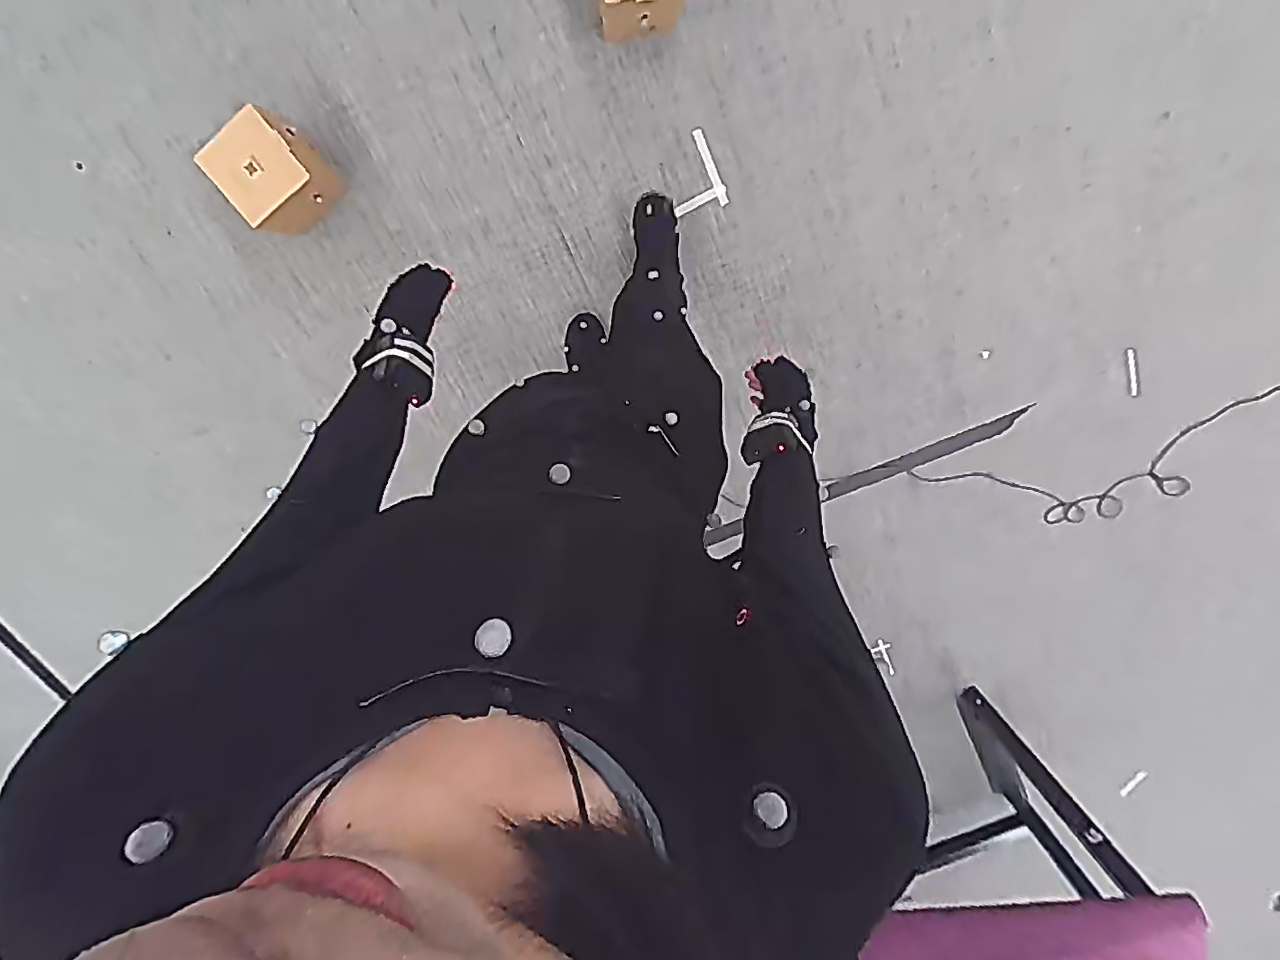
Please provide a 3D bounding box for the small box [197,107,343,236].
[{"bbox_3d":[-0.792,-0.662,1.185,0.179,0.176,0.168,-34,106,11],"label":"small box"}]

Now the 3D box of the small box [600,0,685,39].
[{"bbox_3d":[-0.001,-1.025,1.084,0.168,0.176,0.179,-10,111,1],"label":"small box"}]
